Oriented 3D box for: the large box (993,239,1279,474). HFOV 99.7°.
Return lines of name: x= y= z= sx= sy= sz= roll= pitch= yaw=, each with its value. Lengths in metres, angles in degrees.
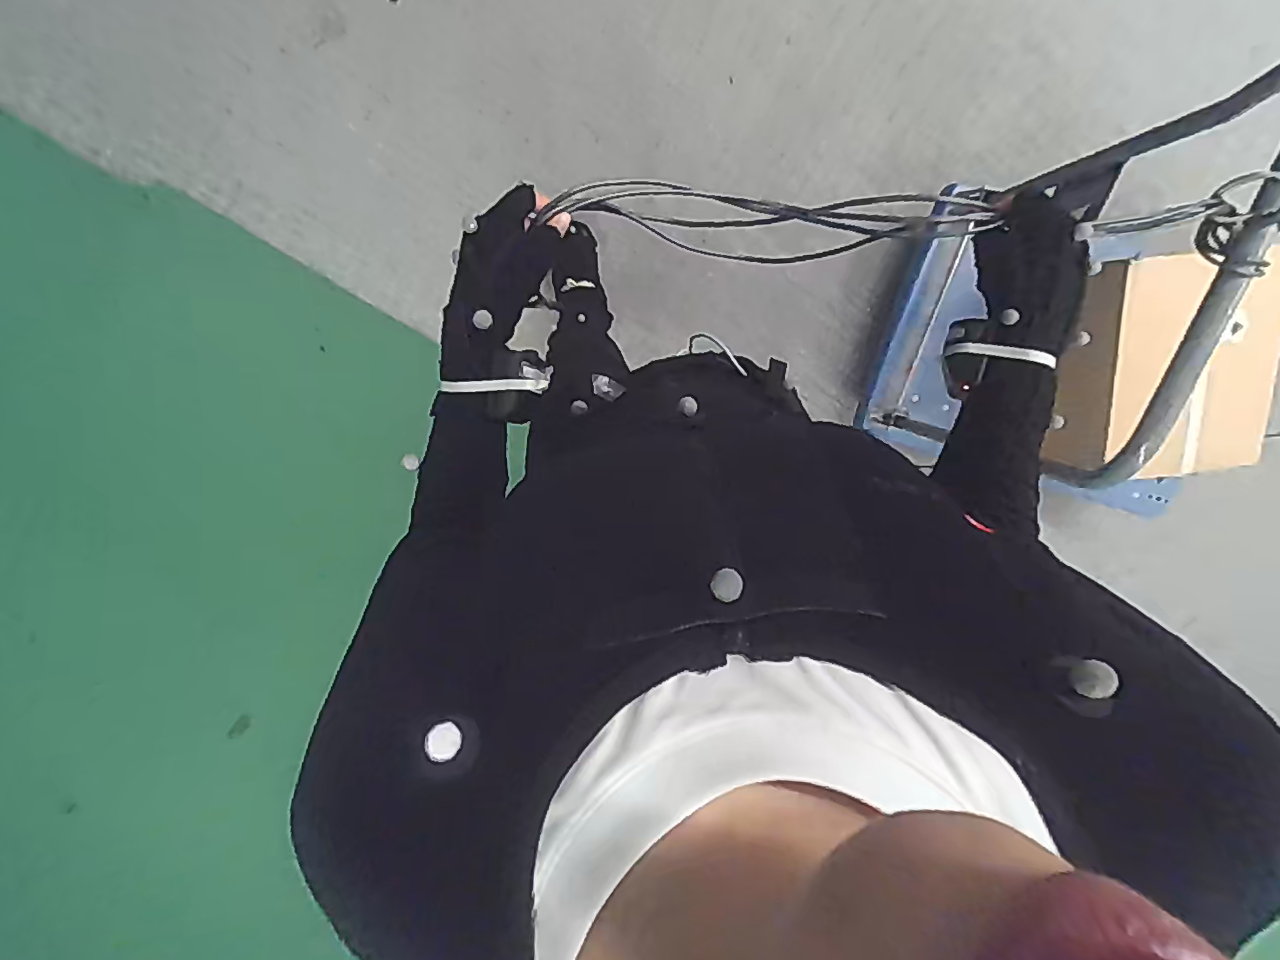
large box: x=1.001 y=-0.253 z=1.143 sx=0.320 sy=0.320 sz=0.408 roll=-6 pitch=104 yaw=-2
